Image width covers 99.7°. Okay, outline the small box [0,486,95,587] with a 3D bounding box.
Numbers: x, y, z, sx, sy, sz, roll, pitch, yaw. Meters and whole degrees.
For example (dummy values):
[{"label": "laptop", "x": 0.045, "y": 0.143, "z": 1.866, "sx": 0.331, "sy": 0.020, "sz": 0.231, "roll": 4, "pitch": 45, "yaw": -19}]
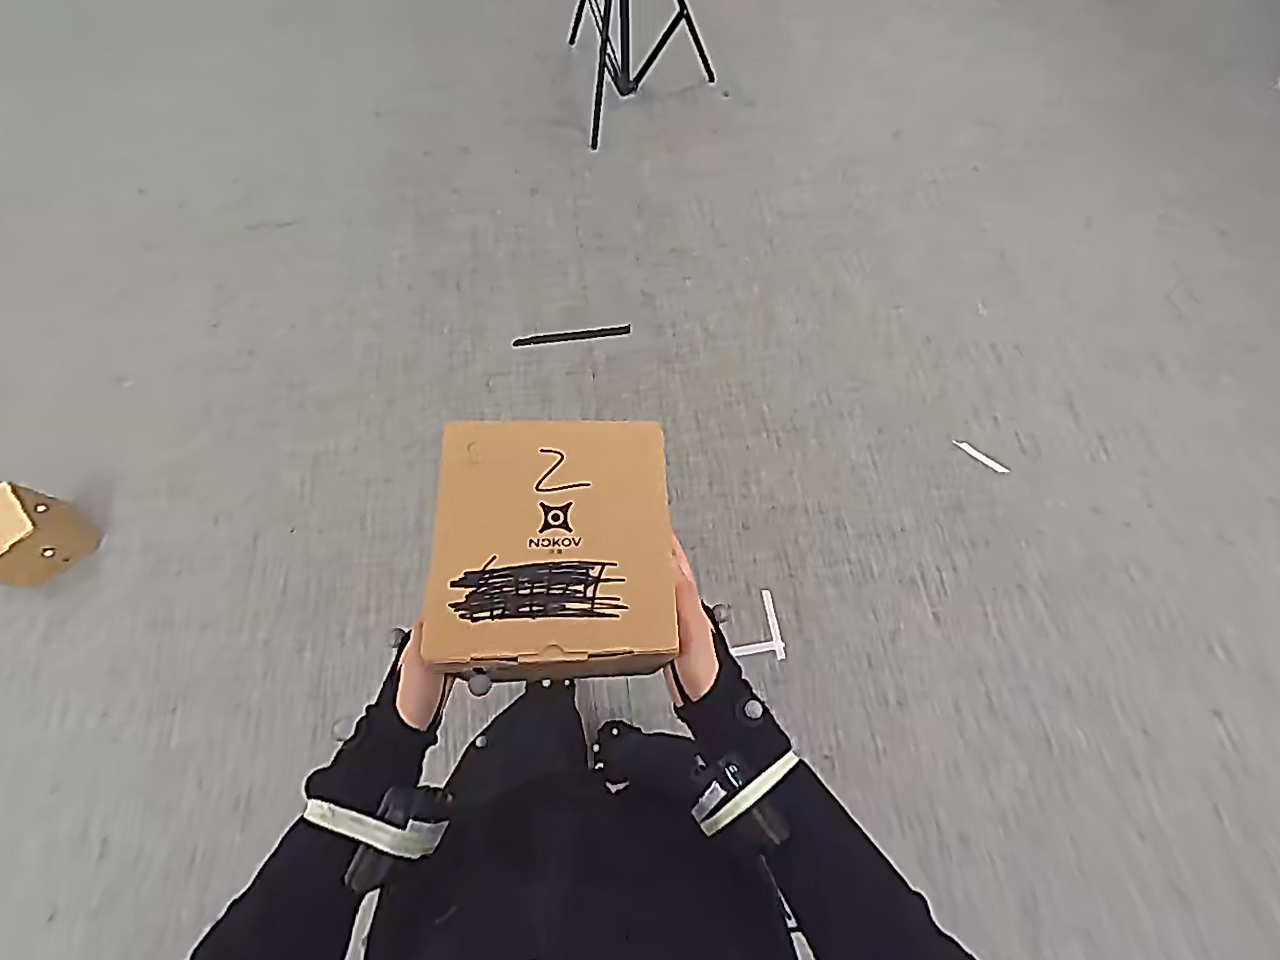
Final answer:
[{"label": "small box", "x": -1.546, "y": 0.151, "z": 1.356, "sx": 0.168, "sy": 0.176, "sz": 0.179, "roll": -42, "pitch": 74, "yaw": -16}]
